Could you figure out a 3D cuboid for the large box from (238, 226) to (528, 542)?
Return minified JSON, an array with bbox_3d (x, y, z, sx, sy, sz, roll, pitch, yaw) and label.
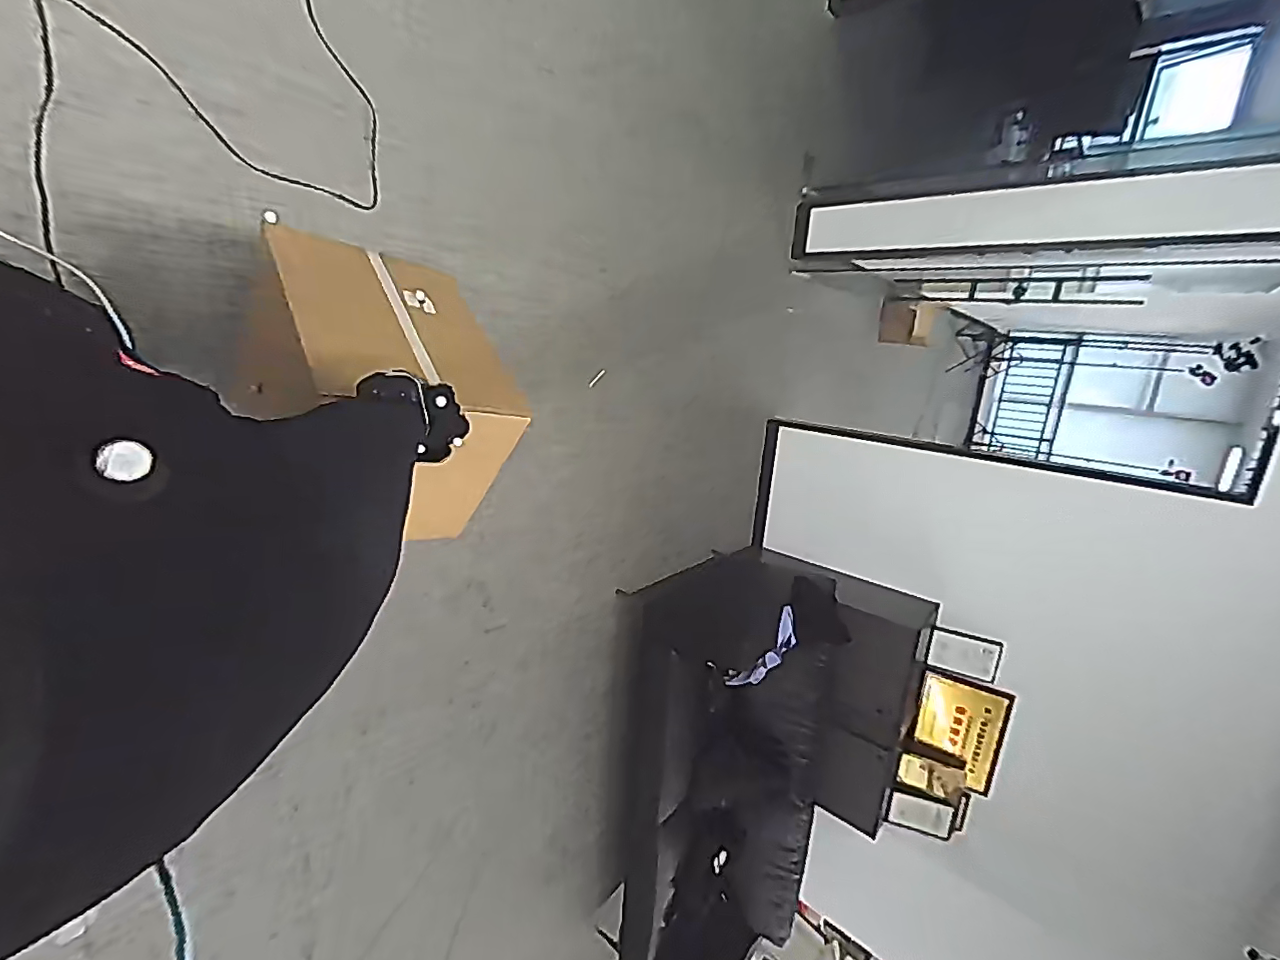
[{"bbox_3d":[-0.462,-0.151,0.938,0.320,0.408,0.320,0,138,-47],"label":"large box"}]
